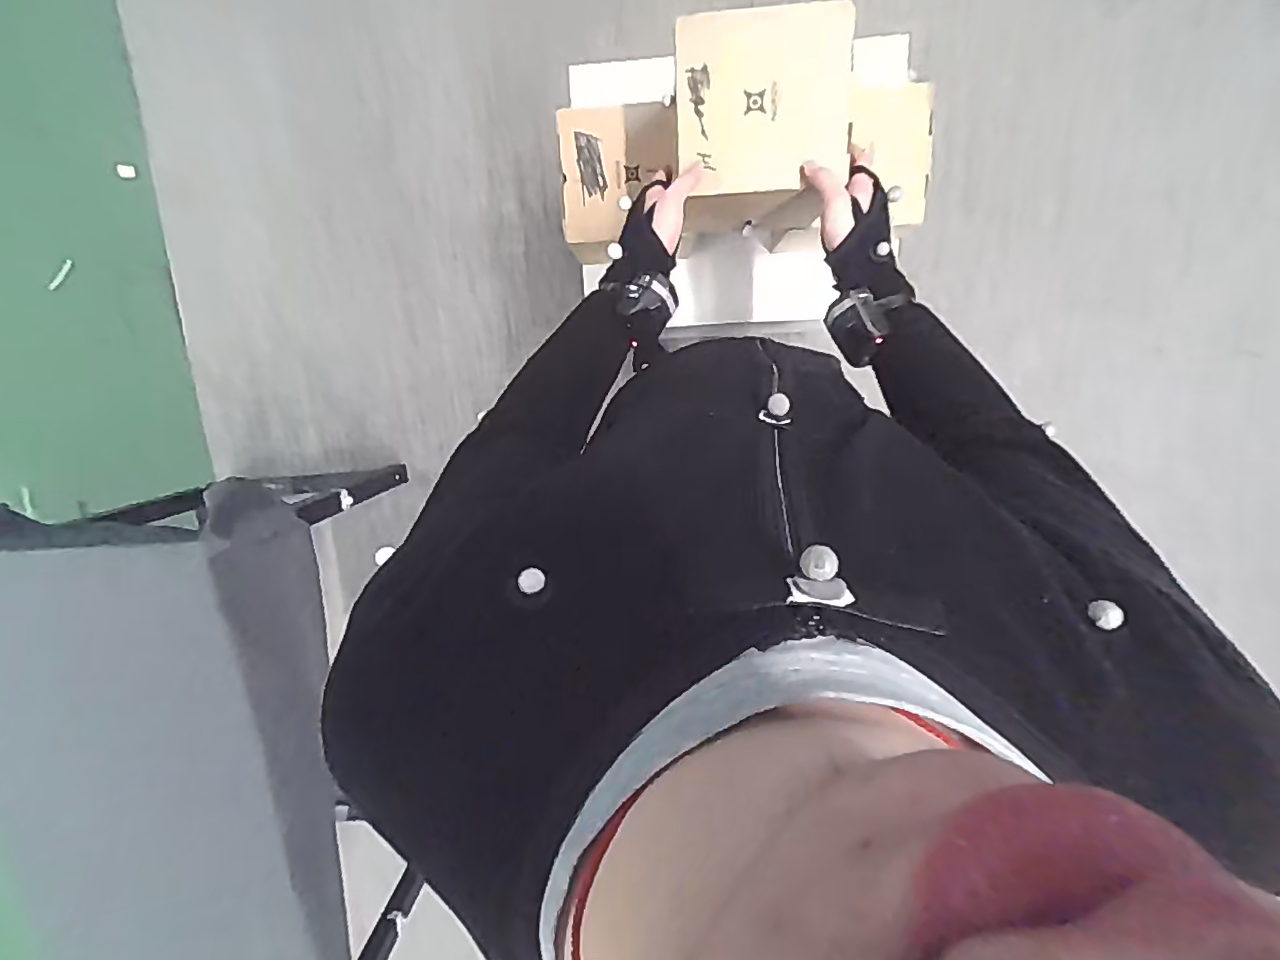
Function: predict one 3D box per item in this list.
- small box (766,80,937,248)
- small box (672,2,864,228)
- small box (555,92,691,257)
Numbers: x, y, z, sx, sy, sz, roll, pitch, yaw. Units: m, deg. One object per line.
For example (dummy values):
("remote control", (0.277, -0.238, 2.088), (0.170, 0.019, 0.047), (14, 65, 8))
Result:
("small box", (0.283, -0.430, 0.761), (0.179, 0.176, 0.168), (0, 103, 4))
("small box", (0.128, -0.392, 0.609), (0.179, 0.176, 0.168), (-1, 103, 1))
("small box", (-0.017, -0.422, 0.774), (0.179, 0.176, 0.168), (-2, 103, 1))
